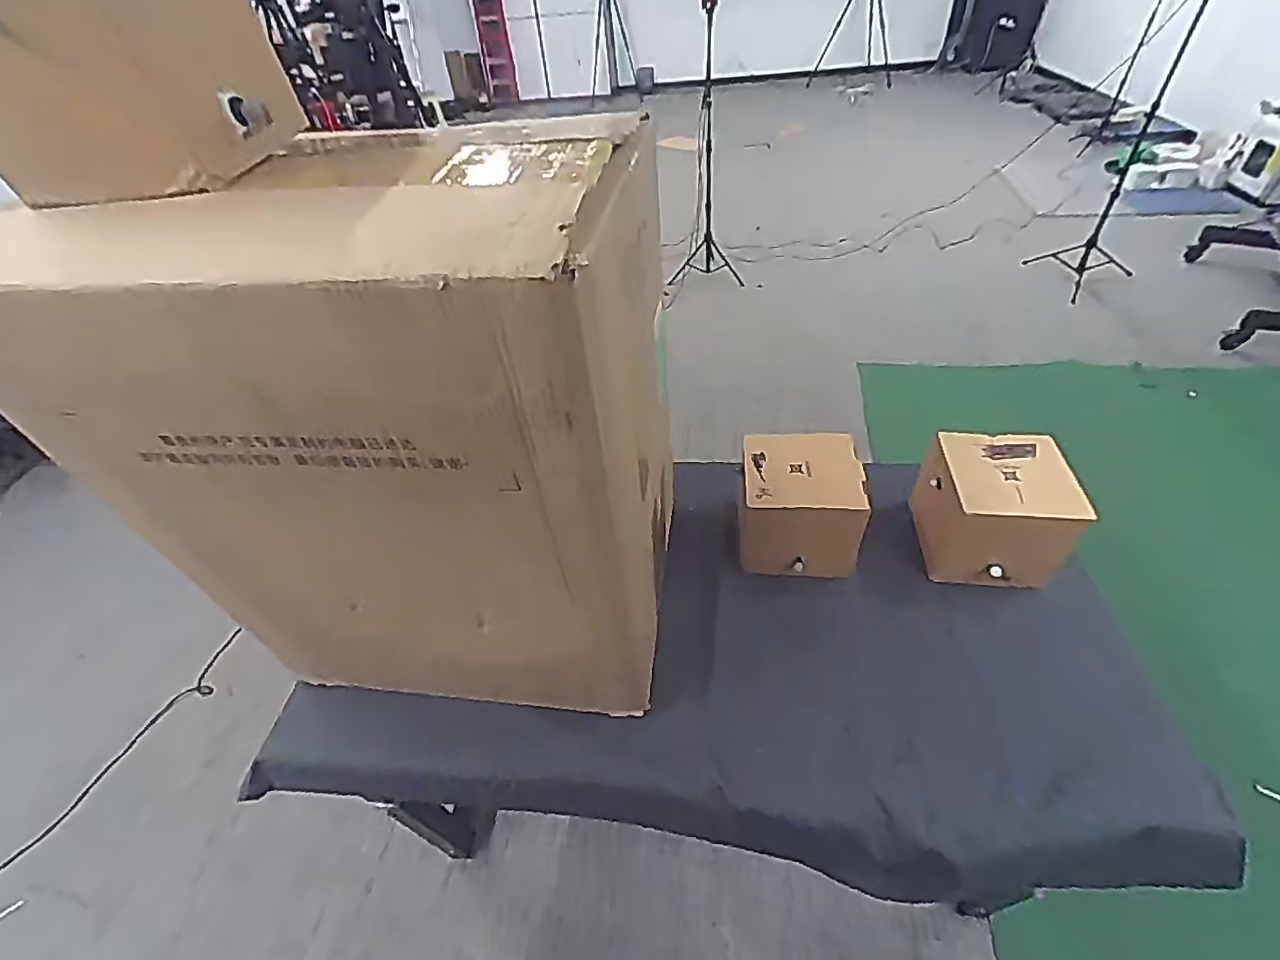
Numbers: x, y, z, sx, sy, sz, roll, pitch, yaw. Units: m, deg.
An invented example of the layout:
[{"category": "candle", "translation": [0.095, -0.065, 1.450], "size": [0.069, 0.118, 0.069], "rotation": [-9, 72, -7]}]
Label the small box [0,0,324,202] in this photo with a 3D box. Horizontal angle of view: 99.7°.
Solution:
[{"category": "small box", "translation": [-0.407, -0.343, 0.438], "size": [0.179, 0.176, 0.168], "rotation": [-1, 50, 4]}]

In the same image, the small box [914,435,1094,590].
[{"category": "small box", "translation": [0.553, 0.049, 0.855], "size": [0.168, 0.176, 0.179], "rotation": [3, 46, 10]}]
